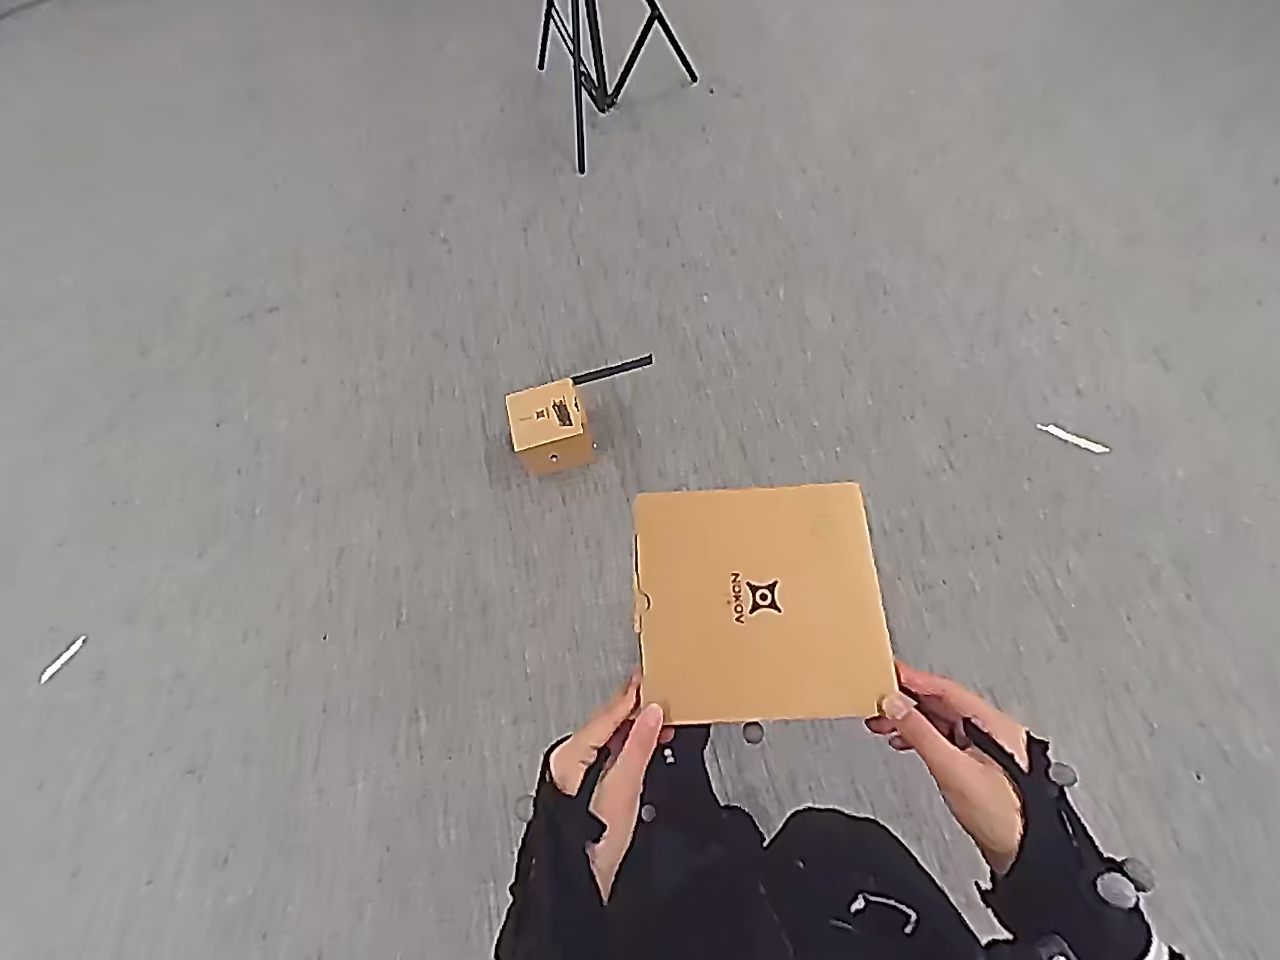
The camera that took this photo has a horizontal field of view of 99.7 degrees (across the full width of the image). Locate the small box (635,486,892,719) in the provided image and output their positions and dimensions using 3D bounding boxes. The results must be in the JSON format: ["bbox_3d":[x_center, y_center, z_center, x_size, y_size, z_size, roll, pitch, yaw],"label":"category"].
[{"bbox_3d":[0.089,0.110,0.473,0.179,0.176,0.168,-4,71,3],"label":"small box"}]

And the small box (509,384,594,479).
[{"bbox_3d":[-0.224,-0.121,1.410,0.179,0.176,0.168,-15,67,1],"label":"small box"}]
